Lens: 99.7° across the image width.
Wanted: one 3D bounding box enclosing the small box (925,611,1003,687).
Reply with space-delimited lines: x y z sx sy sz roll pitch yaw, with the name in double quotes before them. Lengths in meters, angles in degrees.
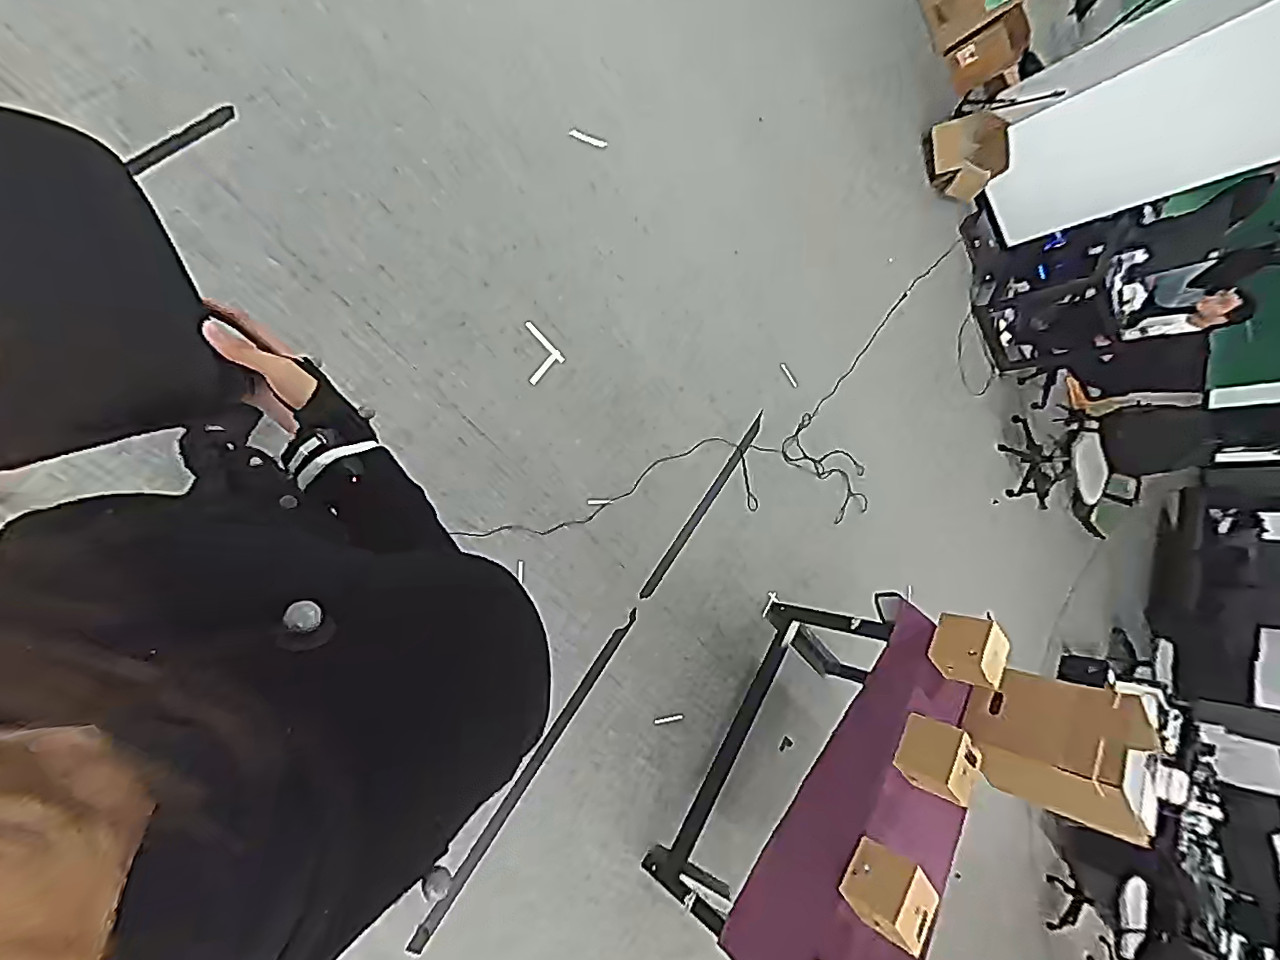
"small box" 1.108 0.571 1.853 0.168 0.176 0.179 46 65 -27
